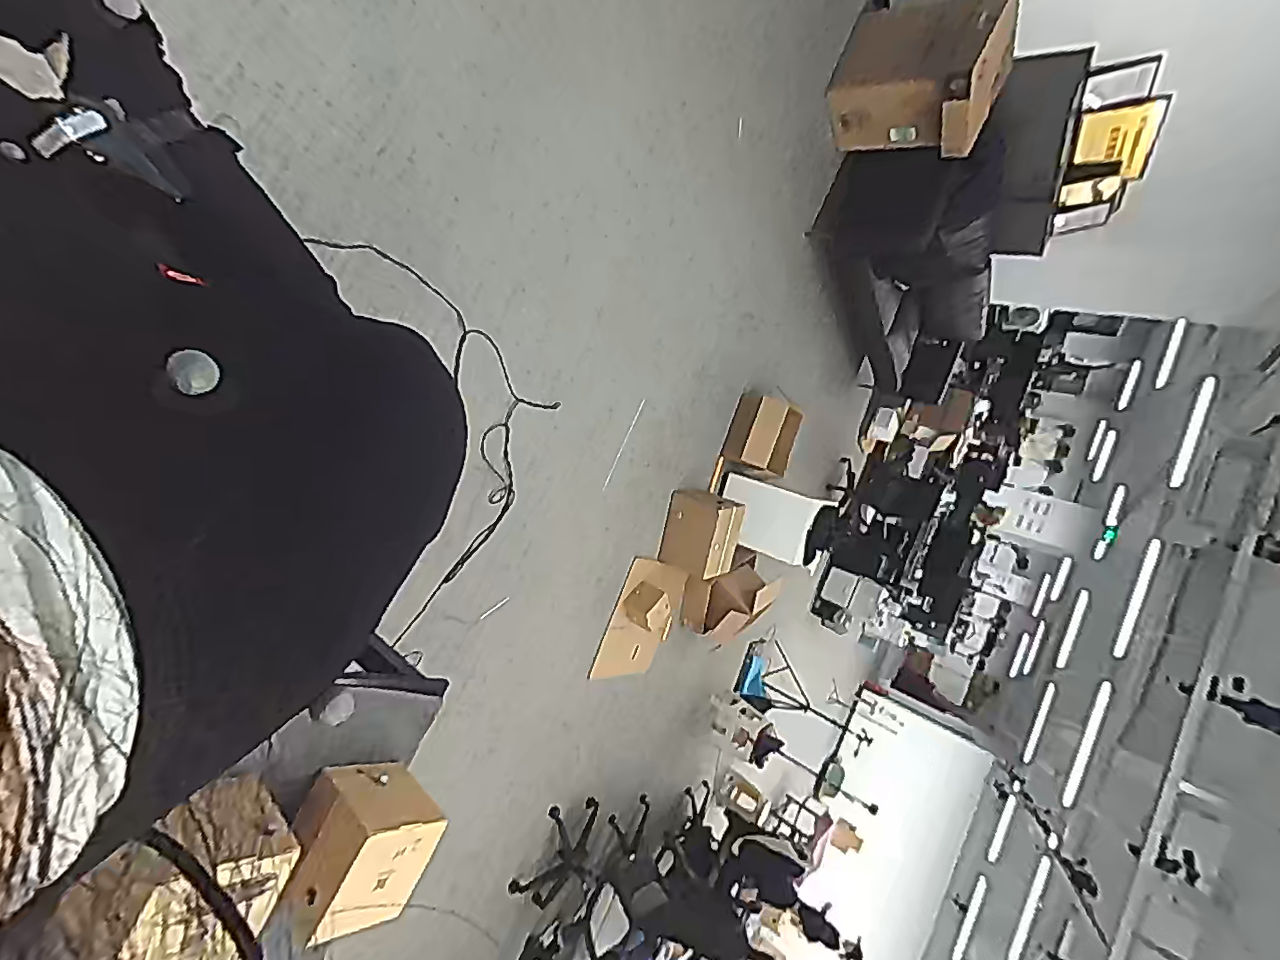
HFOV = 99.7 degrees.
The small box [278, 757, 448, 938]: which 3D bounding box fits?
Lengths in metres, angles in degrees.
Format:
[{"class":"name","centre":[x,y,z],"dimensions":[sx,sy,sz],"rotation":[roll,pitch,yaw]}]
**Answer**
[{"class":"small box","centre":[-0.471,0.601,0.913],"dimensions":[0.179,0.176,0.168],"rotation":[-62,145,-8]}]
